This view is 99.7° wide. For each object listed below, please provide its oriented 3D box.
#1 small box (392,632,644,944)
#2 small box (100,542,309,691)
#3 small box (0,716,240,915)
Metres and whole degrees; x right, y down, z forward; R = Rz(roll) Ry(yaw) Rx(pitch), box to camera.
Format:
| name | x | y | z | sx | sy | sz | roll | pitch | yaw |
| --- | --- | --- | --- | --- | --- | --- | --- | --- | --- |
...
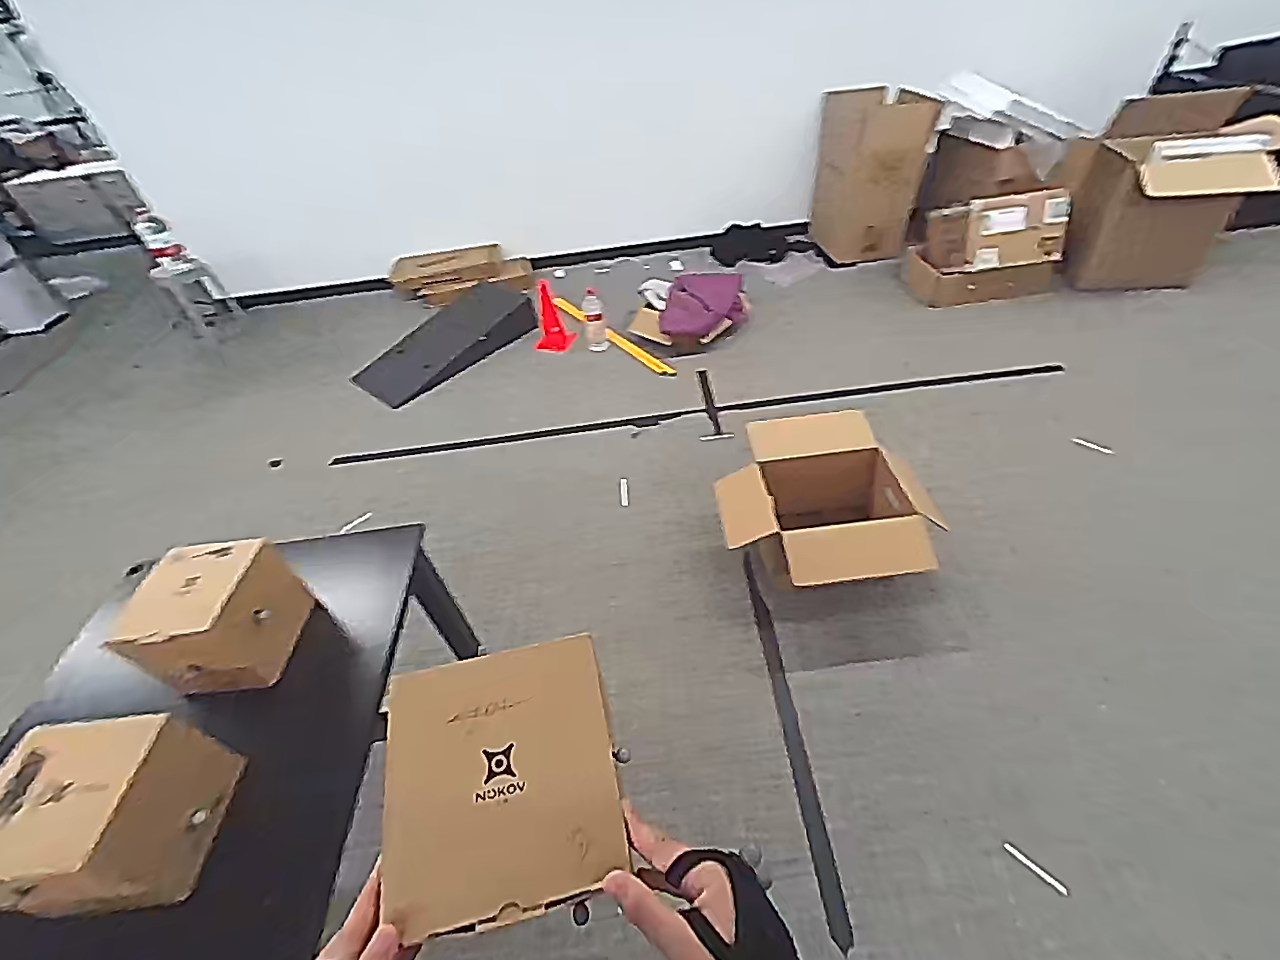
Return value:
| name | x | y | z | sx | sy | sz | roll | pitch | yaw |
| --- | --- | --- | --- | --- | --- | --- | --- | --- | --- |
| small box | -0.093 | 0.257 | 0.462 | 0.168 | 0.176 | 0.179 | -11 | 53 | -6 |
| small box | -0.679 | 0.226 | 0.875 | 0.168 | 0.176 | 0.179 | -6 | 45 | 3 |
| small box | -0.661 | 0.418 | 0.671 | 0.179 | 0.176 | 0.168 | -7 | 44 | 1 |
